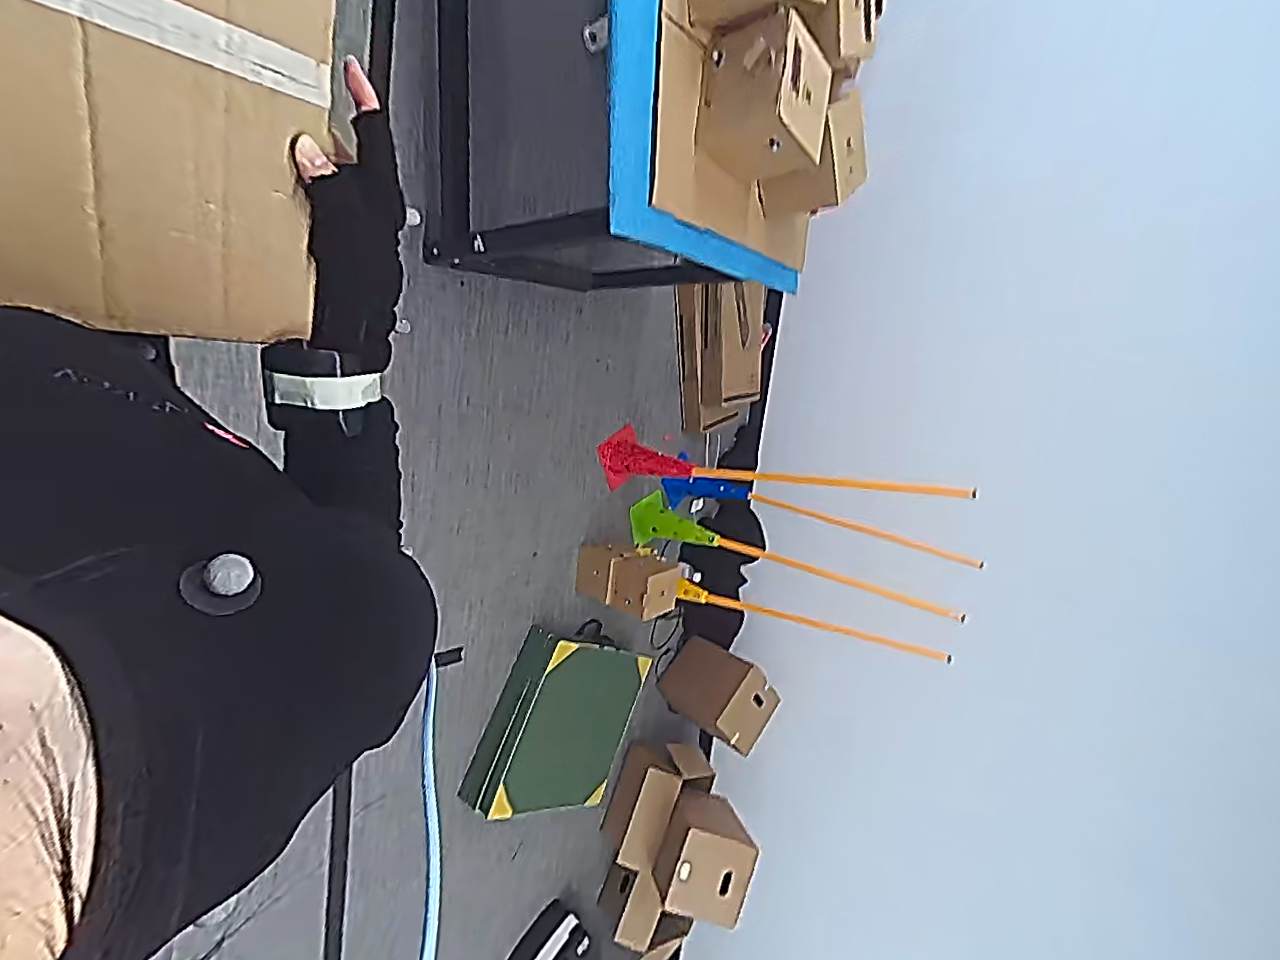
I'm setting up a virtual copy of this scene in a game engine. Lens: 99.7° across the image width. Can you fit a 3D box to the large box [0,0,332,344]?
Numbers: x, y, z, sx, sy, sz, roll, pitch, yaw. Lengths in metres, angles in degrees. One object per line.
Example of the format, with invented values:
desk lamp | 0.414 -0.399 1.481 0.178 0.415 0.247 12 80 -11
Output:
large box | -0.425 -0.285 0.274 0.408 0.320 0.320 -7 127 -44
